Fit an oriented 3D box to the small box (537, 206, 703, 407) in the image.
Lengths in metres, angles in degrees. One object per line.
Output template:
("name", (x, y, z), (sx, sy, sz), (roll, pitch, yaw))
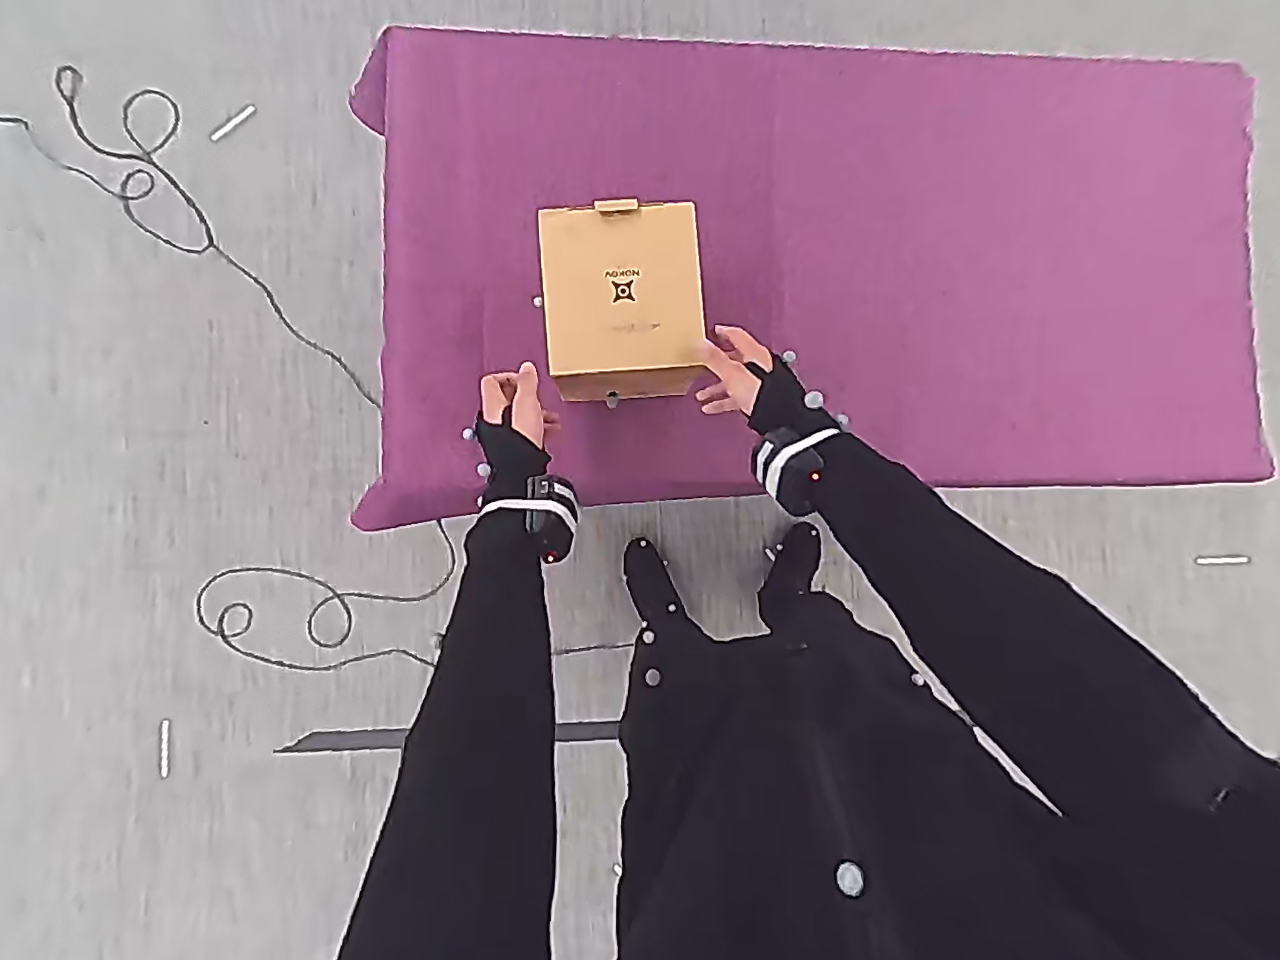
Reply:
("small box", (-0.025, -0.190, 0.632), (0.168, 0.176, 0.179), (-4, 88, -3))
